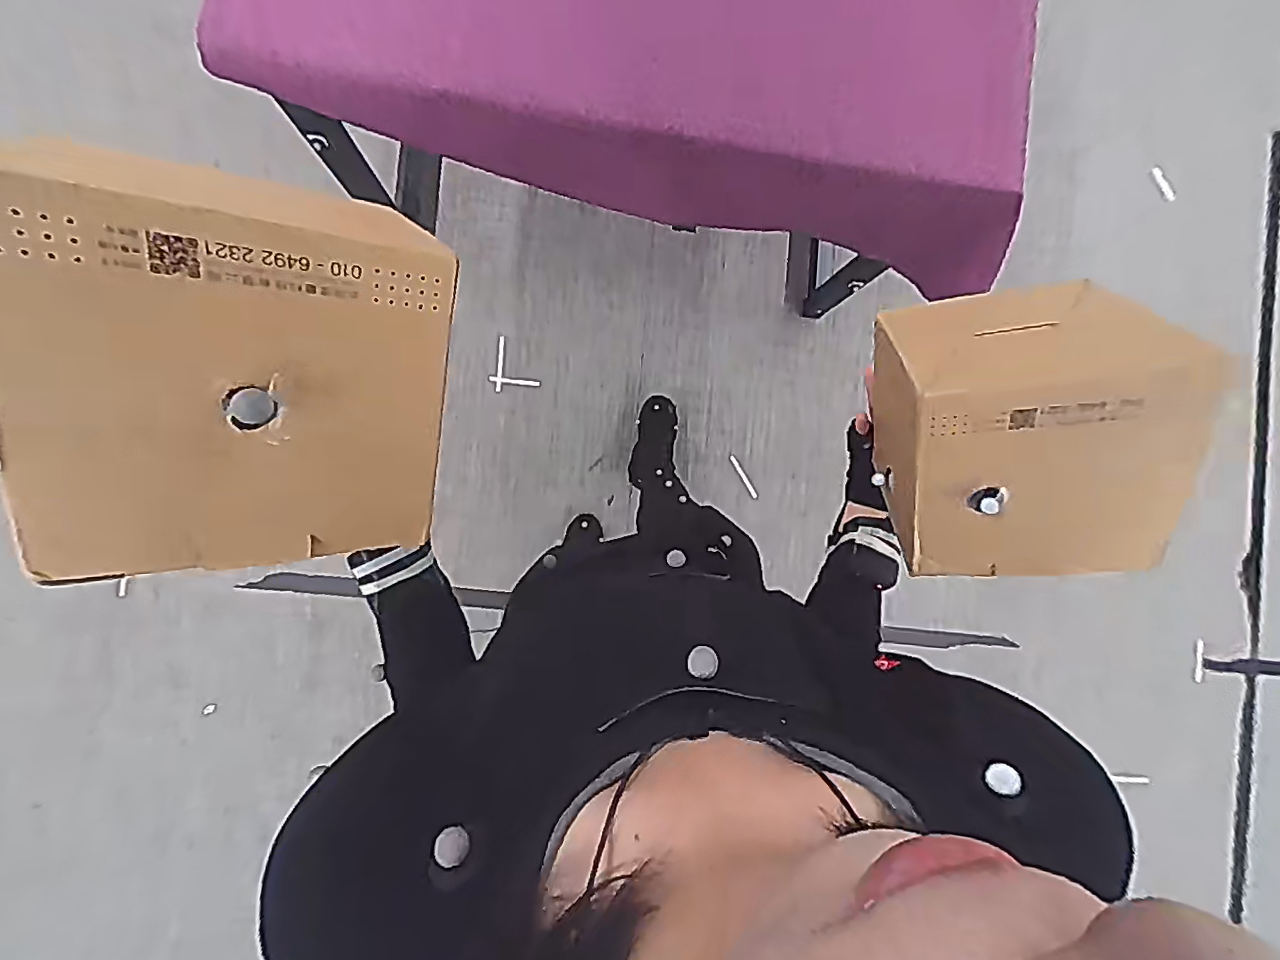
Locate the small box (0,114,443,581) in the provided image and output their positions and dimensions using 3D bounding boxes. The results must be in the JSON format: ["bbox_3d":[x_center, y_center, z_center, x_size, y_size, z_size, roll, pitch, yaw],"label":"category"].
[{"bbox_3d":[-0.210,-0.075,0.287,0.168,0.179,0.176,-2,119,-34],"label":"small box"}]

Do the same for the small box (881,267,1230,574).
[{"bbox_3d":[0.291,-0.049,0.423,0.168,0.179,0.176,-4,124,15],"label":"small box"}]
